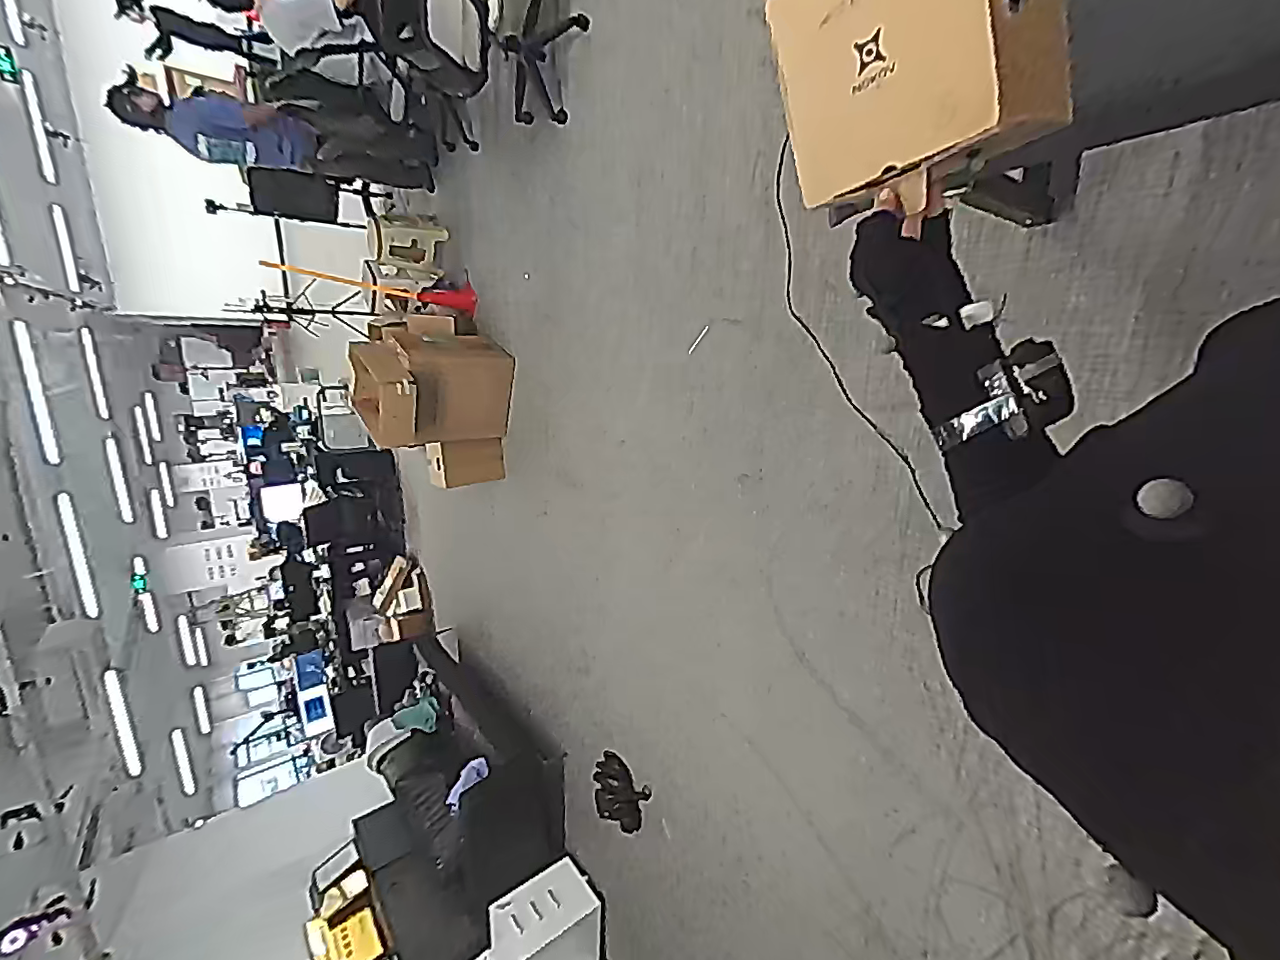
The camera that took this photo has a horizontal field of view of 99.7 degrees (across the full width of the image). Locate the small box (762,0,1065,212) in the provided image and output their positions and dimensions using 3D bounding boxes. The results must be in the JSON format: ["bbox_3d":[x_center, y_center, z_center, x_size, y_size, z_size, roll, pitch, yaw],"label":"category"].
[{"bbox_3d":[0.238,-0.358,0.465,0.168,0.176,0.179,2,114,52],"label":"small box"}]
